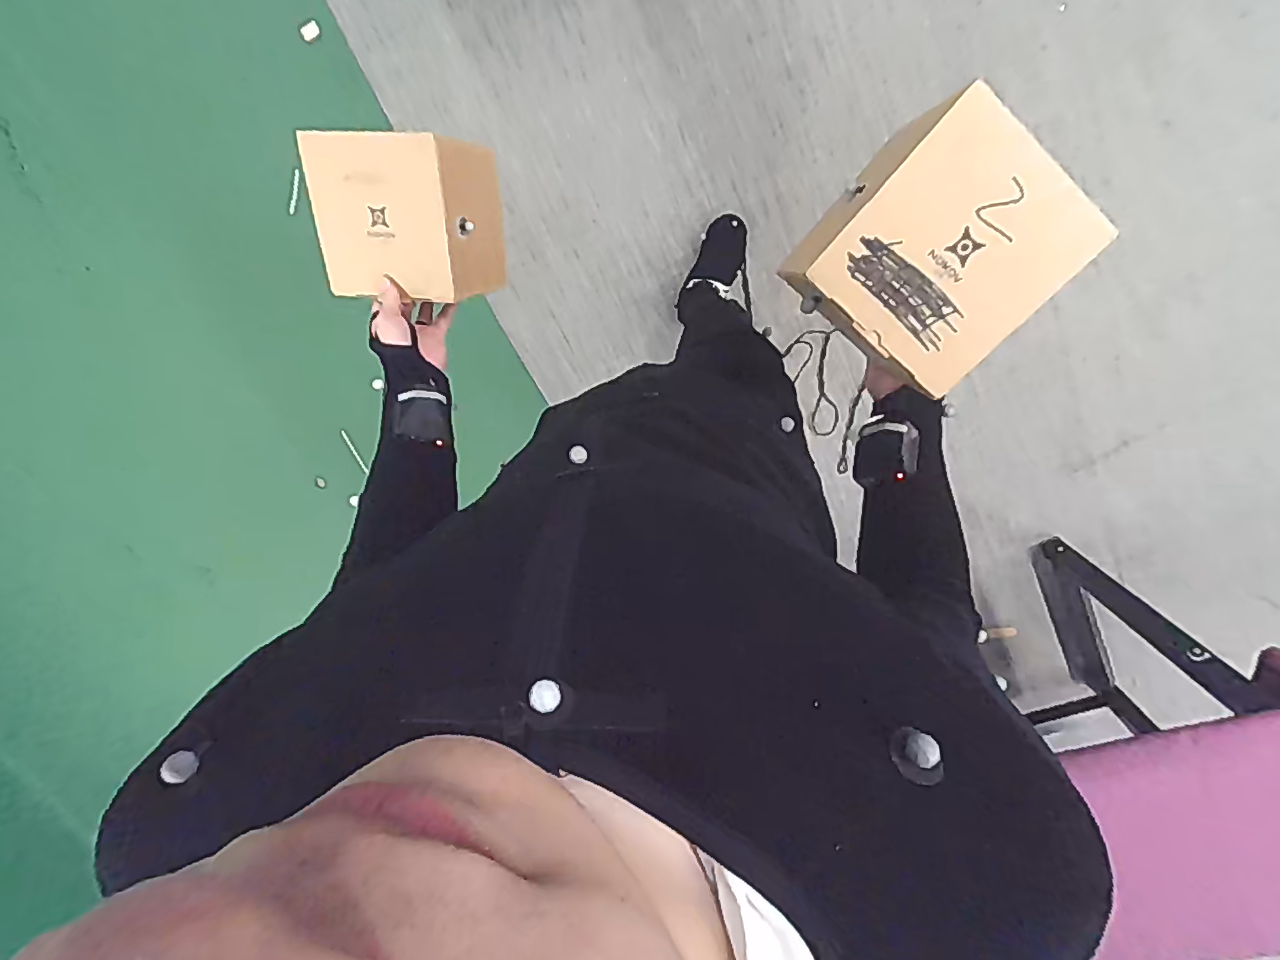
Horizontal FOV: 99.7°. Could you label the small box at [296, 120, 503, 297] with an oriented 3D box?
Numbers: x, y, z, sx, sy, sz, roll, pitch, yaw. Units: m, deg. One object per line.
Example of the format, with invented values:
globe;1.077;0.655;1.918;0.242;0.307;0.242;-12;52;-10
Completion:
small box;-0.284;-0.341;0.686;0.168;0.176;0.179;6;118;7
